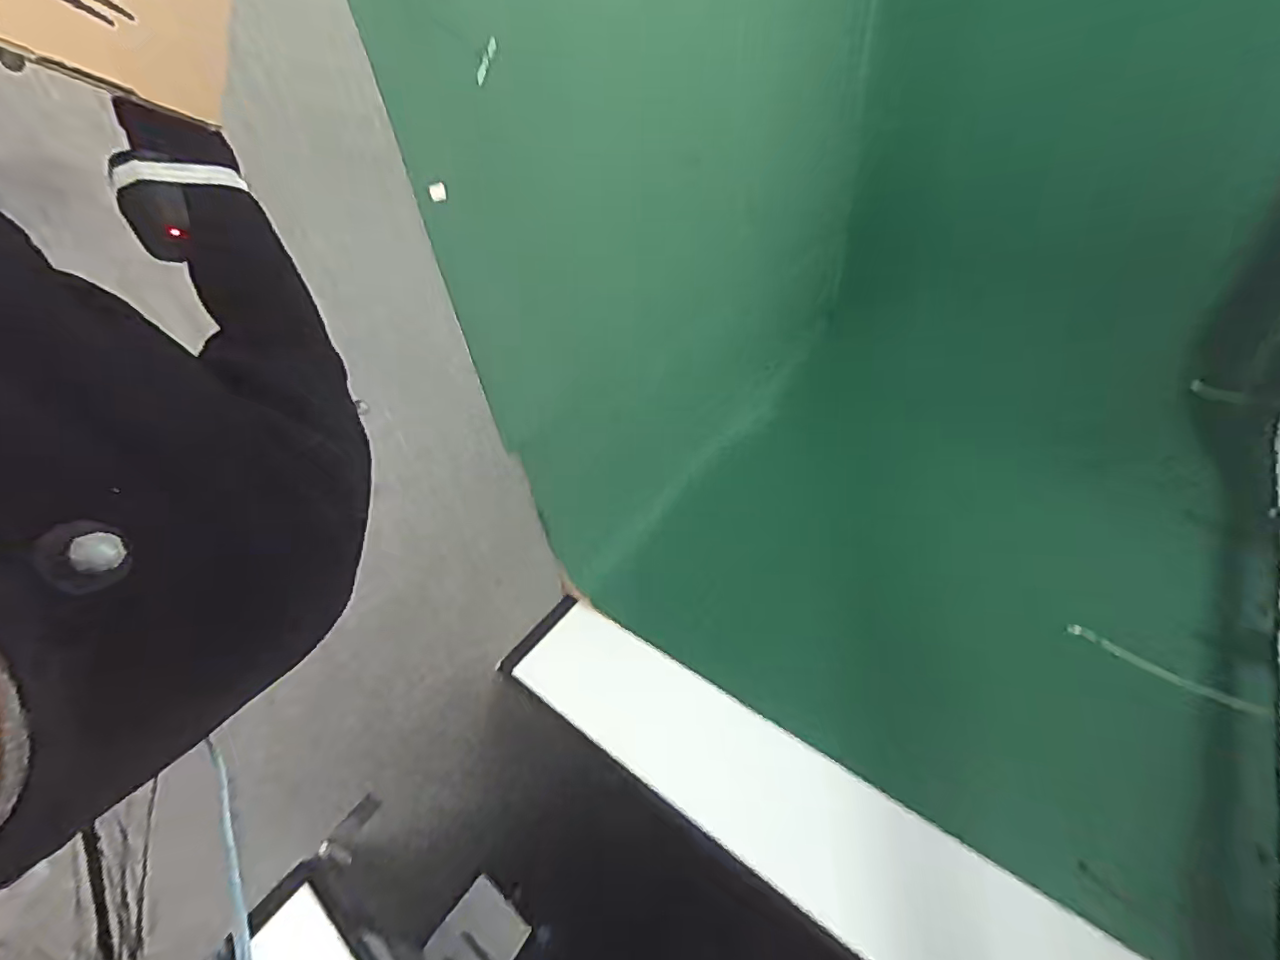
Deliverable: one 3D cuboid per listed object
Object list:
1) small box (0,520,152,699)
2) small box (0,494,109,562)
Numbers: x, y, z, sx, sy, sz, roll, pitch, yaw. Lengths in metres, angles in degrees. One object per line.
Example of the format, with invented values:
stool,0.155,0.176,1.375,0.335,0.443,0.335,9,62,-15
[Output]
small box,-0.932,0.190,0.839,0.179,0.176,0.168,-43,140,-31
small box,-1.064,0.154,0.930,0.179,0.176,0.168,-46,142,-31
